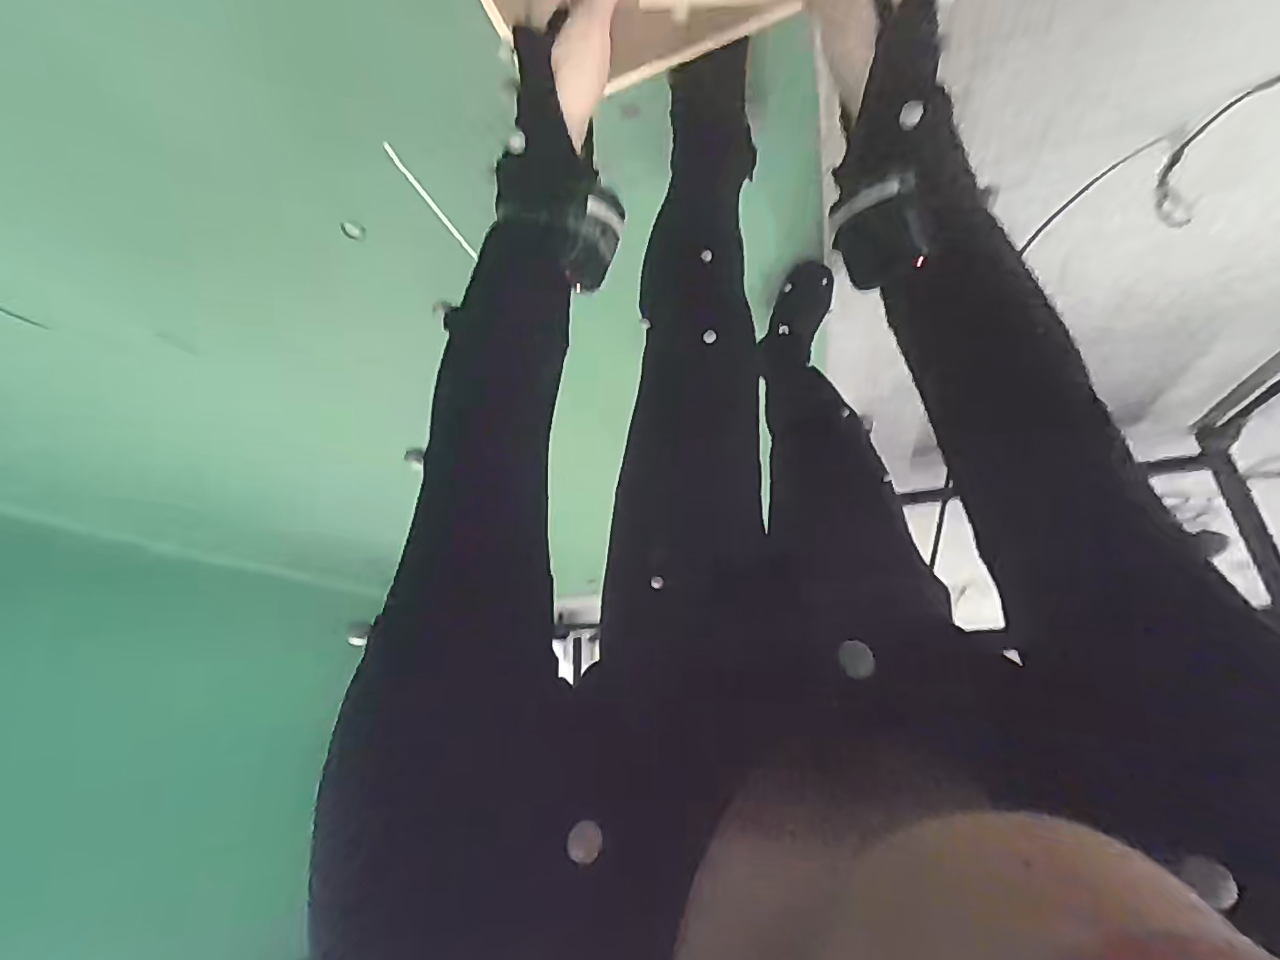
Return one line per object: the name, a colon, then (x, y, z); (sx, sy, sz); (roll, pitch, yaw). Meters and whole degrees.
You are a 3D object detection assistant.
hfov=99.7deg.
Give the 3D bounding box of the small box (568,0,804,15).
small box: (0.032, -0.448, 0.368); (0.179, 0.176, 0.168); (-1, 142, 3)
